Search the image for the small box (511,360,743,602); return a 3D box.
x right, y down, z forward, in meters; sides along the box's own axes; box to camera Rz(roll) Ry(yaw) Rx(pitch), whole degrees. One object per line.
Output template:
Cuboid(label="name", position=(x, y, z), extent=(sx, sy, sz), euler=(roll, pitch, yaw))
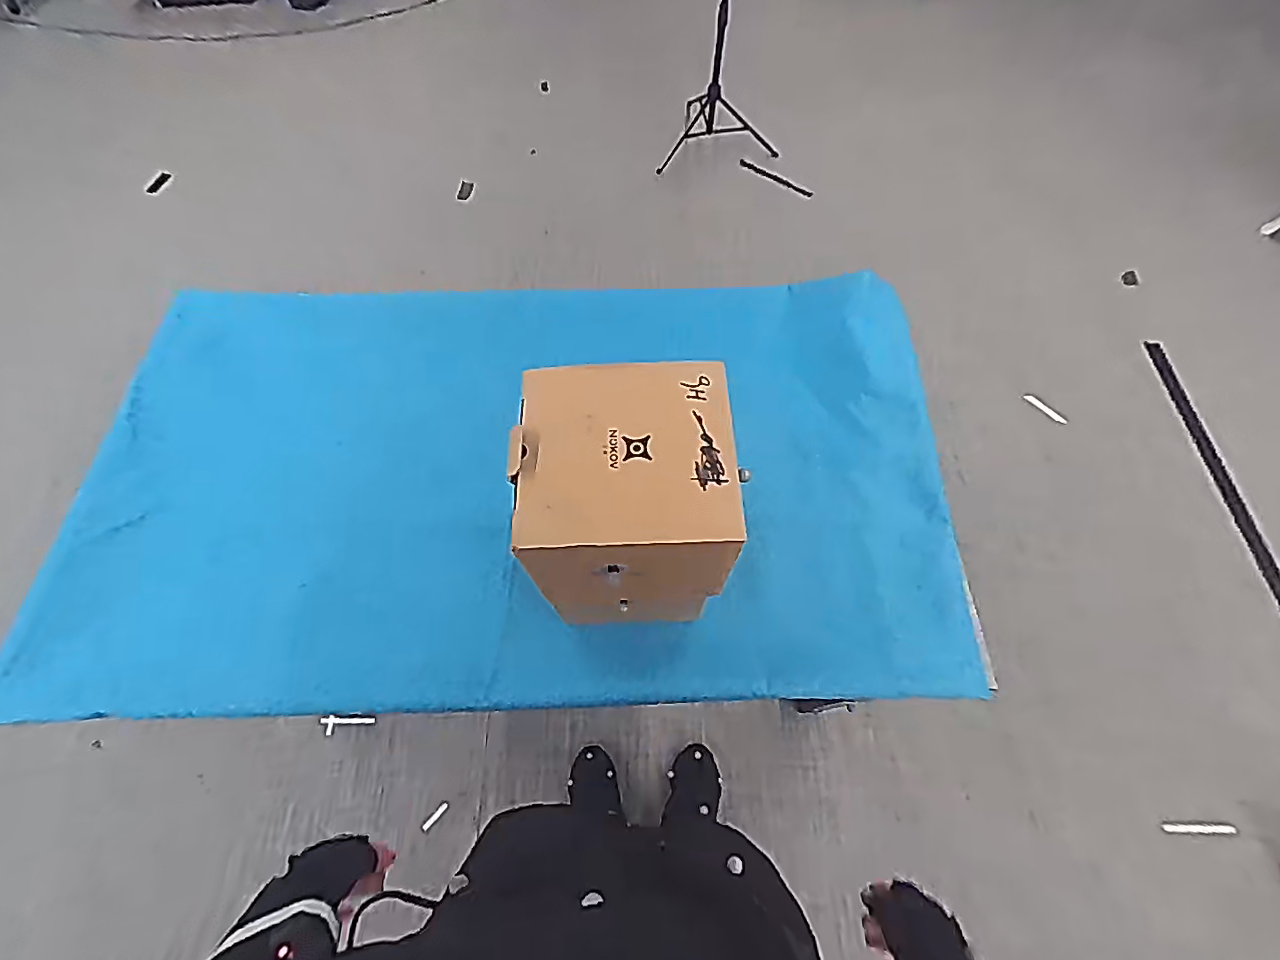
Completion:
Cuboid(label="small box", position=(-0.012, 0.011, 0.505), extent=(0.179, 0.176, 0.168), euler=(-5, 64, -1))

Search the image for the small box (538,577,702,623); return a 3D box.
Cuboid(label="small box", position=(-0.015, 0.075, 0.654), extent=(0.179, 0.176, 0.168), euler=(-1, 65, 1))
